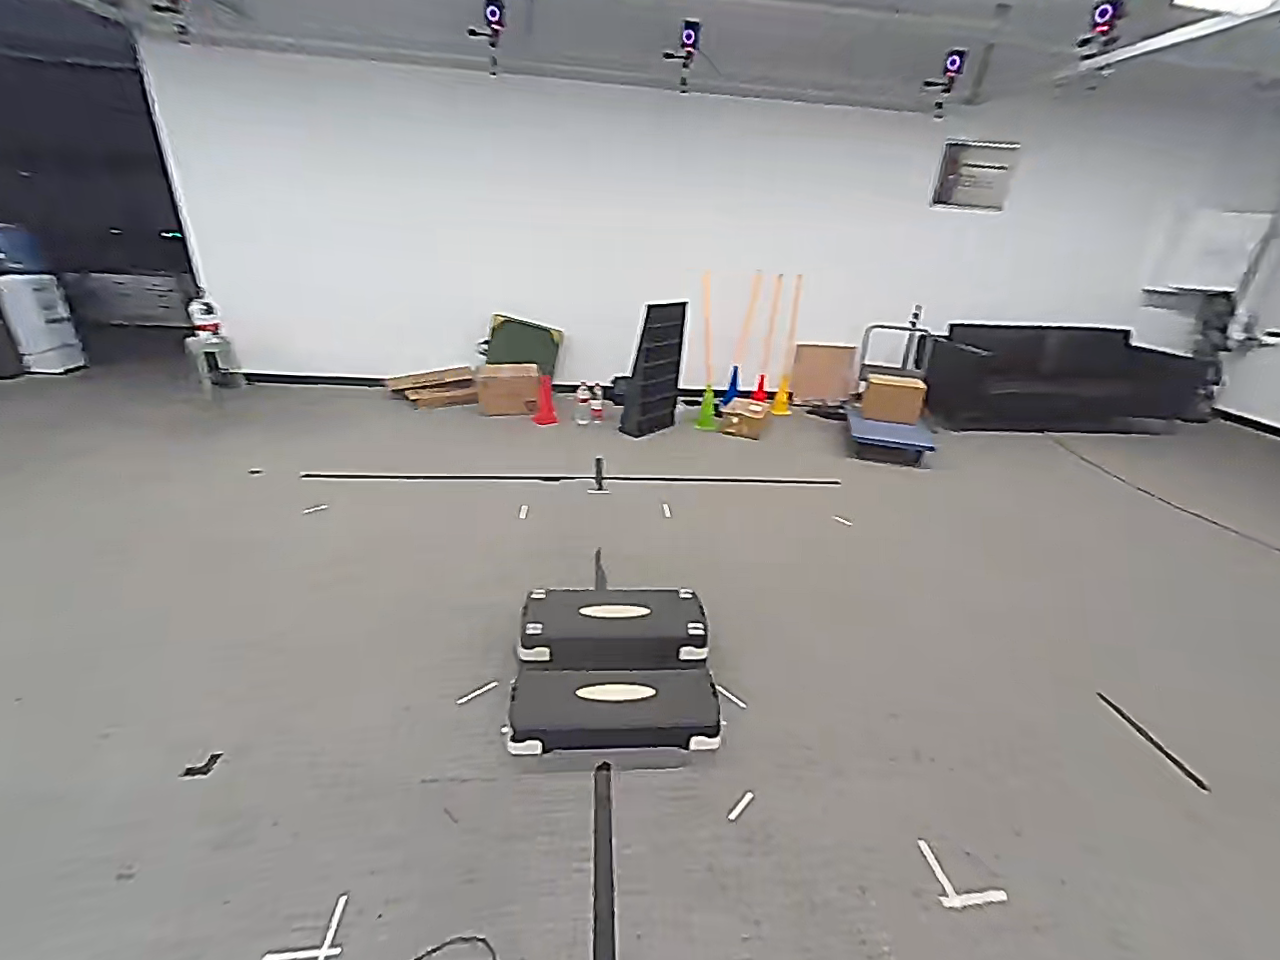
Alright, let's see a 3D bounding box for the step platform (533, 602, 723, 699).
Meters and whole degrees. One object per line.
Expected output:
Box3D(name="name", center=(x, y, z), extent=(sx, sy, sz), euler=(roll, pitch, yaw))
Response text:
Box3D(name="step platform", center=(-0.042, 0.617, 1.988), extent=(0.684, 0.204, 0.286), euler=(3, 23, -1))
